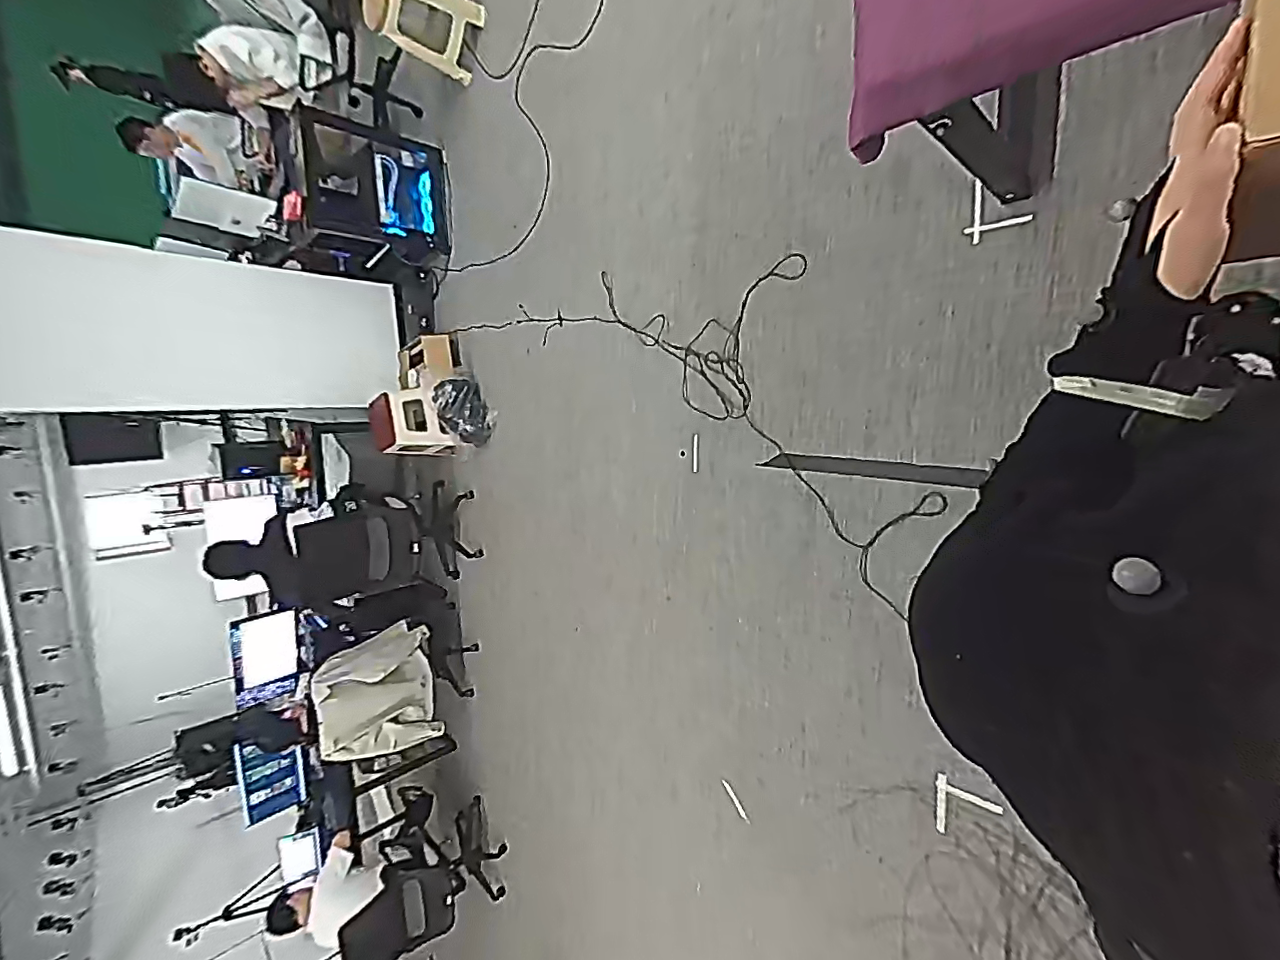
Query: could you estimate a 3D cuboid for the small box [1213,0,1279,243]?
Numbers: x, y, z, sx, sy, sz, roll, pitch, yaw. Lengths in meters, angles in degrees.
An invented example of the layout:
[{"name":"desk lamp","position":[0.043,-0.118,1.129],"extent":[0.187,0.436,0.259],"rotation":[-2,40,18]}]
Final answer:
[{"name":"small box","position":[0.431,-0.247,0.285],"extent":[0.168,0.176,0.179],"rotation":[6,90,45]}]
